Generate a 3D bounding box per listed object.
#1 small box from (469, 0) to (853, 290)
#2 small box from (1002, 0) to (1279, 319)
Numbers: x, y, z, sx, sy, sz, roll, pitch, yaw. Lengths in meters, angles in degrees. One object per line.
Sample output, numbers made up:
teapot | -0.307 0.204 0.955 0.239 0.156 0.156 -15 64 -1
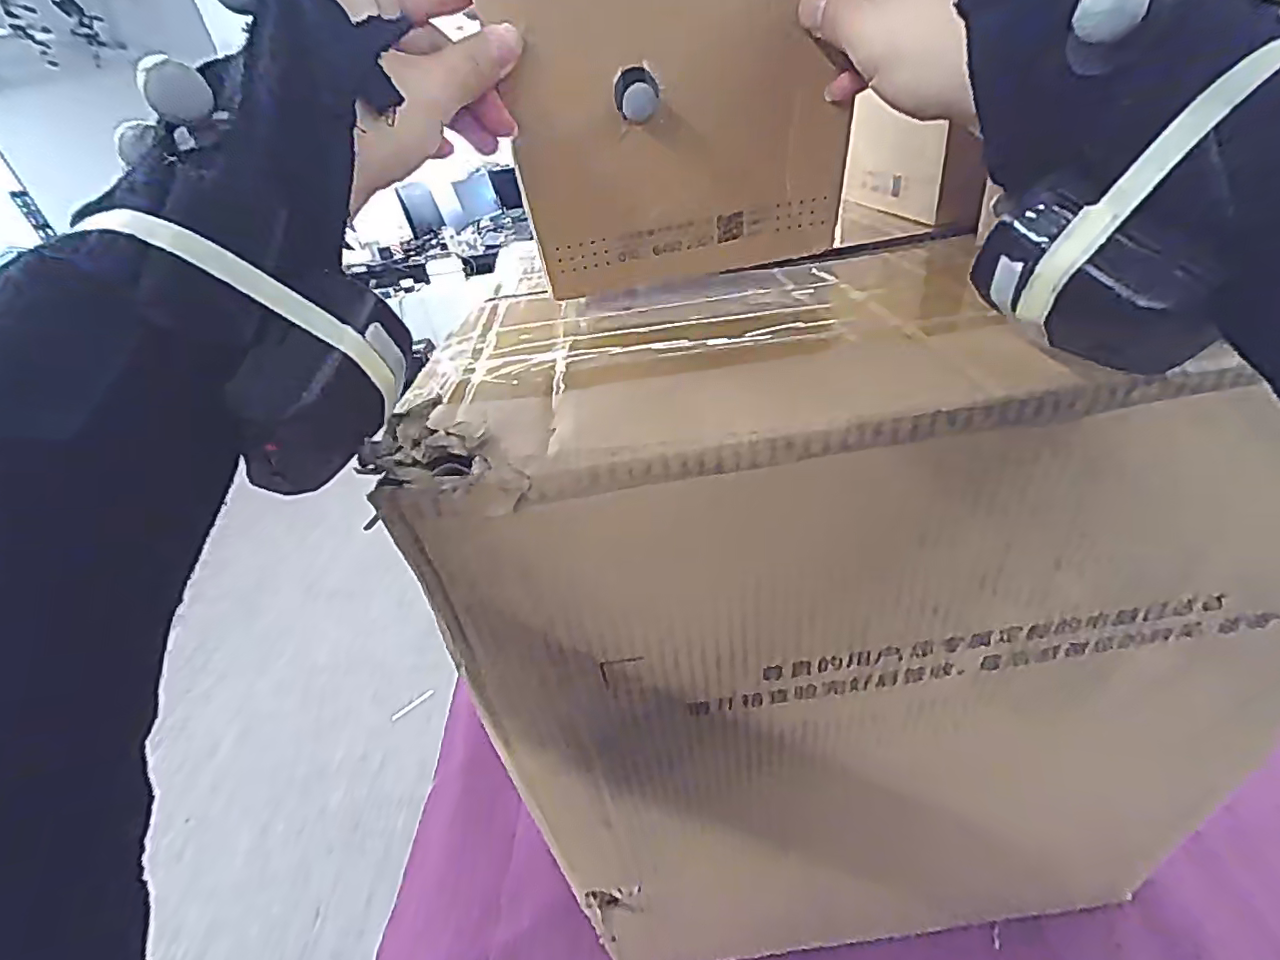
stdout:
small box | 0.010 -0.225 0.310 0.168 0.176 0.179 -11 47 0
small box | 0.284 -0.177 0.218 0.179 0.176 0.168 -11 35 0
